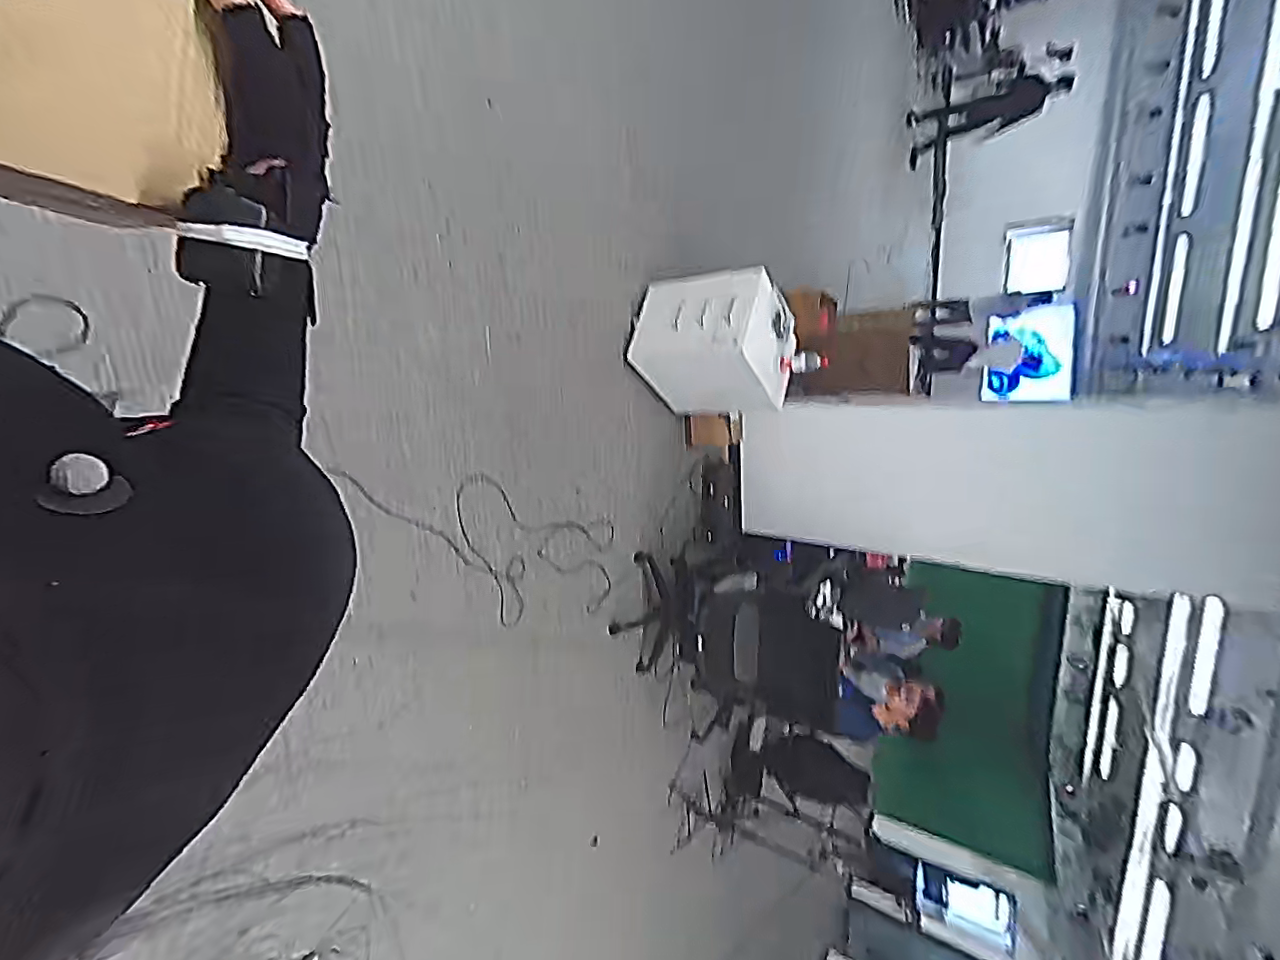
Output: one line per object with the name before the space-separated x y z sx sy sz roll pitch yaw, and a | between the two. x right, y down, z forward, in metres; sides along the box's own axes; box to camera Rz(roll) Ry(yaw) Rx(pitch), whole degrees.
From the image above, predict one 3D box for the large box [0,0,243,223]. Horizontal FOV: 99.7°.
large box | -0.523 -0.377 0.313 0.408 0.320 0.320 -2 107 -55
